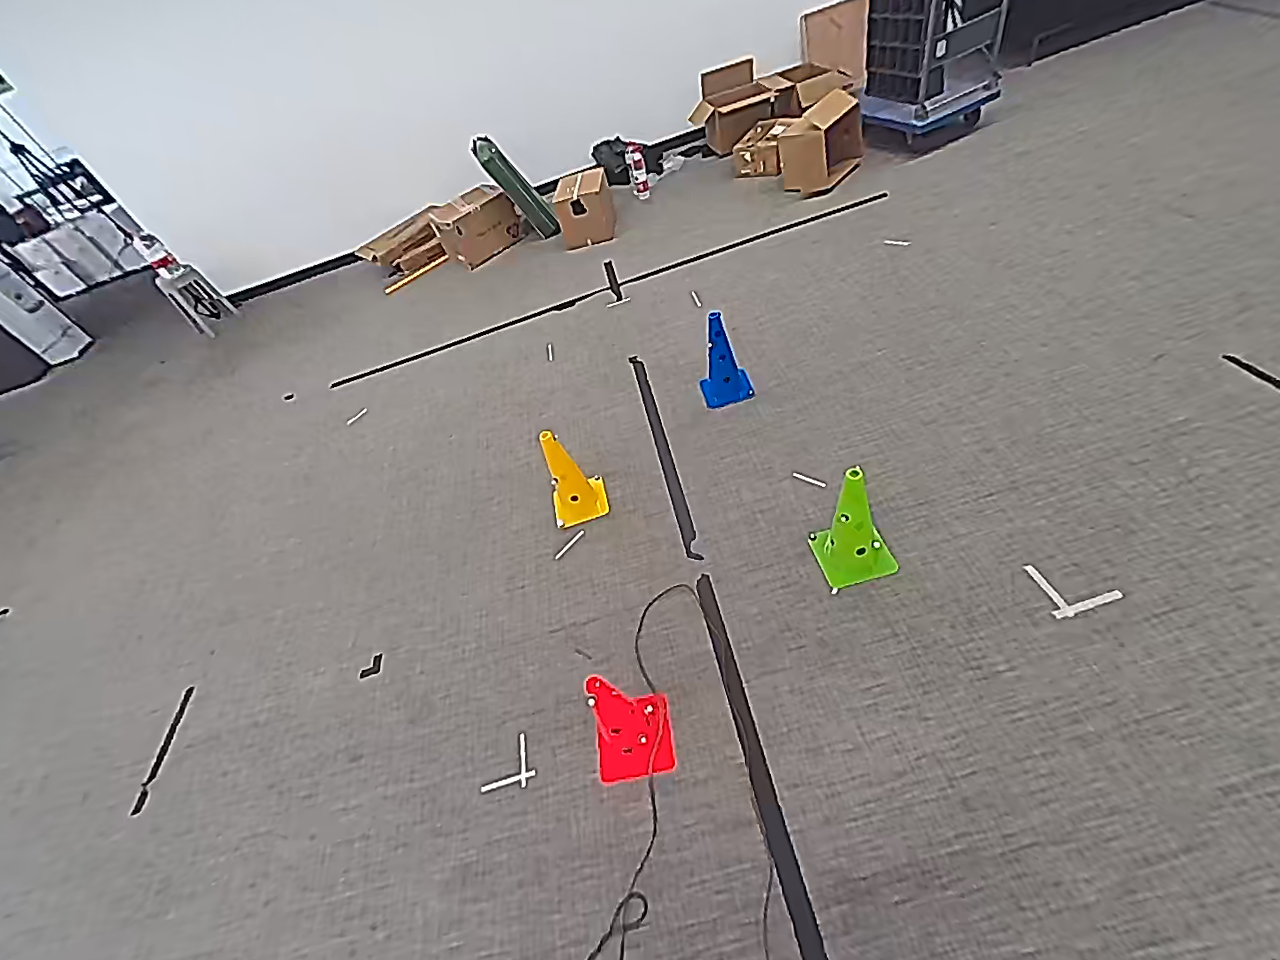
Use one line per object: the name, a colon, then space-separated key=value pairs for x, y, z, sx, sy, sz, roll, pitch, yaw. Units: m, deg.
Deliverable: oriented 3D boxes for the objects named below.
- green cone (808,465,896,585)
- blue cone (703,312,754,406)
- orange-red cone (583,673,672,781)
green cone: x=0.584 y=0.099 z=1.485 sx=0.202 sy=0.368 sz=0.200 roll=-17 pitch=45 yaw=3
blue cone: x=0.326 y=-0.490 z=2.142 sx=0.192 sy=0.380 sz=0.193 roll=-14 pitch=46 yaw=6
orange-red cone: x=-0.063 y=0.556 z=1.298 sx=0.199 sy=0.360 sz=0.198 roll=-15 pitch=44 yaw=8
